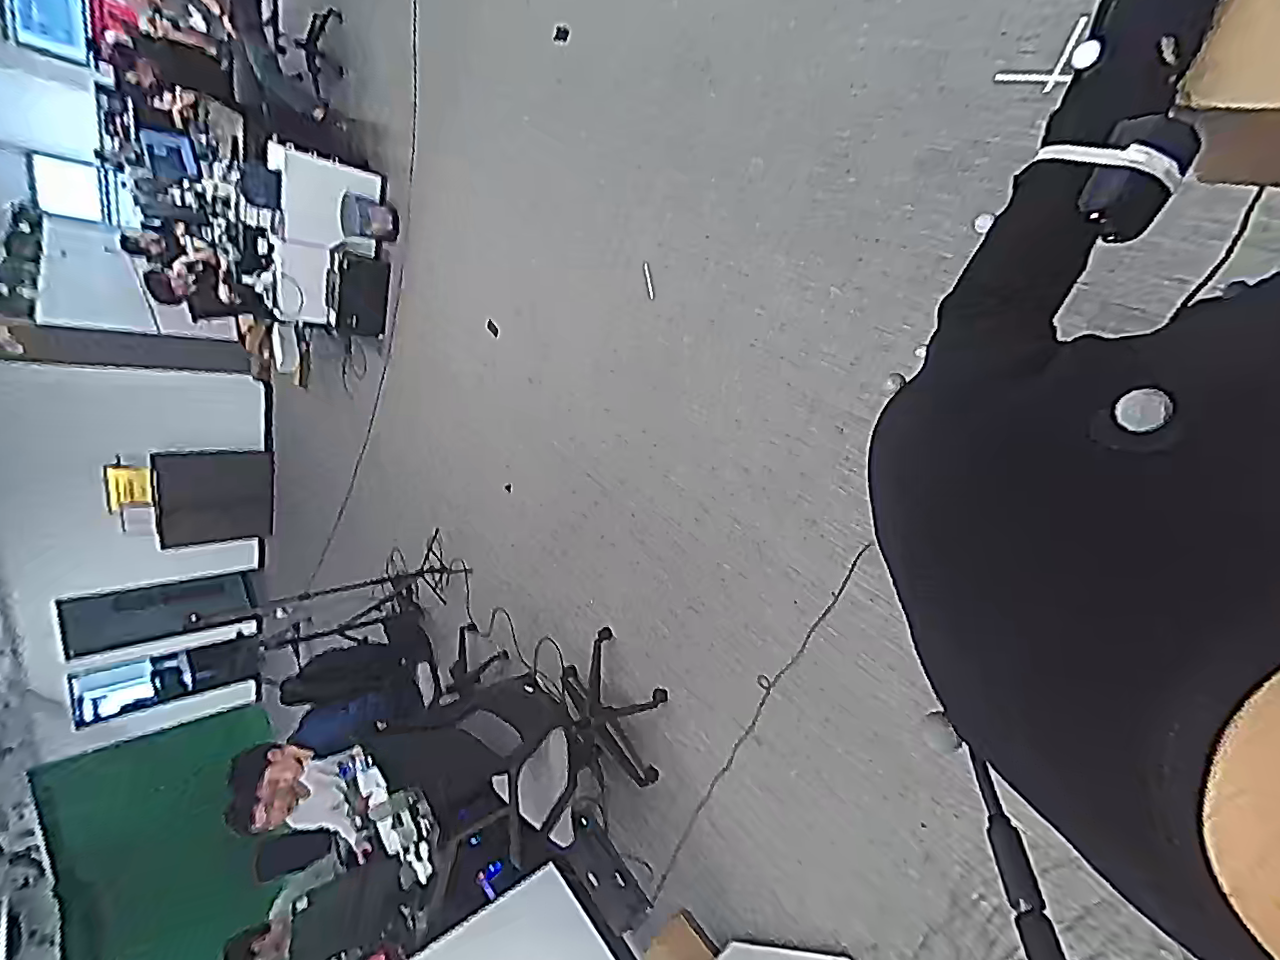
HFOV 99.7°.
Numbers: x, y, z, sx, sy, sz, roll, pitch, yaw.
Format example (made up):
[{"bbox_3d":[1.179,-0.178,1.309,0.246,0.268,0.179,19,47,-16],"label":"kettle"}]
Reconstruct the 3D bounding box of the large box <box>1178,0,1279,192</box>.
[{"bbox_3d":[0.640,-0.348,0.298,0.408,0.320,0.320,31,124,39],"label":"large box"}]
